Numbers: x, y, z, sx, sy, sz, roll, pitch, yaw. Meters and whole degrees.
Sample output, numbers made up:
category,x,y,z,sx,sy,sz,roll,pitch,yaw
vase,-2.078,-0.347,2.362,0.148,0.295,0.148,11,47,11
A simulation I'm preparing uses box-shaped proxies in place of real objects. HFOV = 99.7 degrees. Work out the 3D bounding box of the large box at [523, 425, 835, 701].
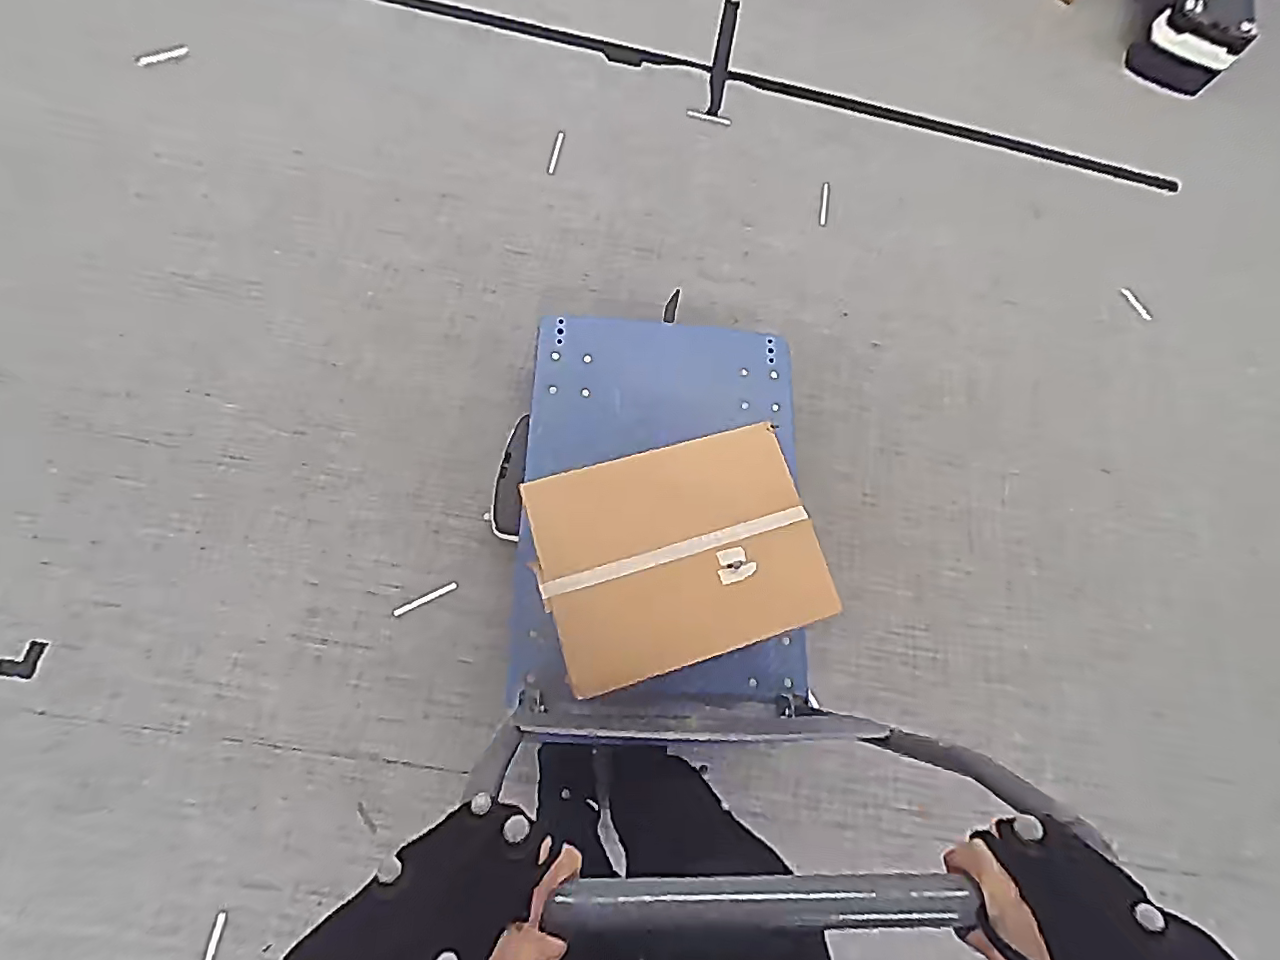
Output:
category,x,y,z,sx,sy,sz,roll,pitch,yaw
large box,0.039,0.146,0.935,0.408,0.320,0.320,-15,77,-12
